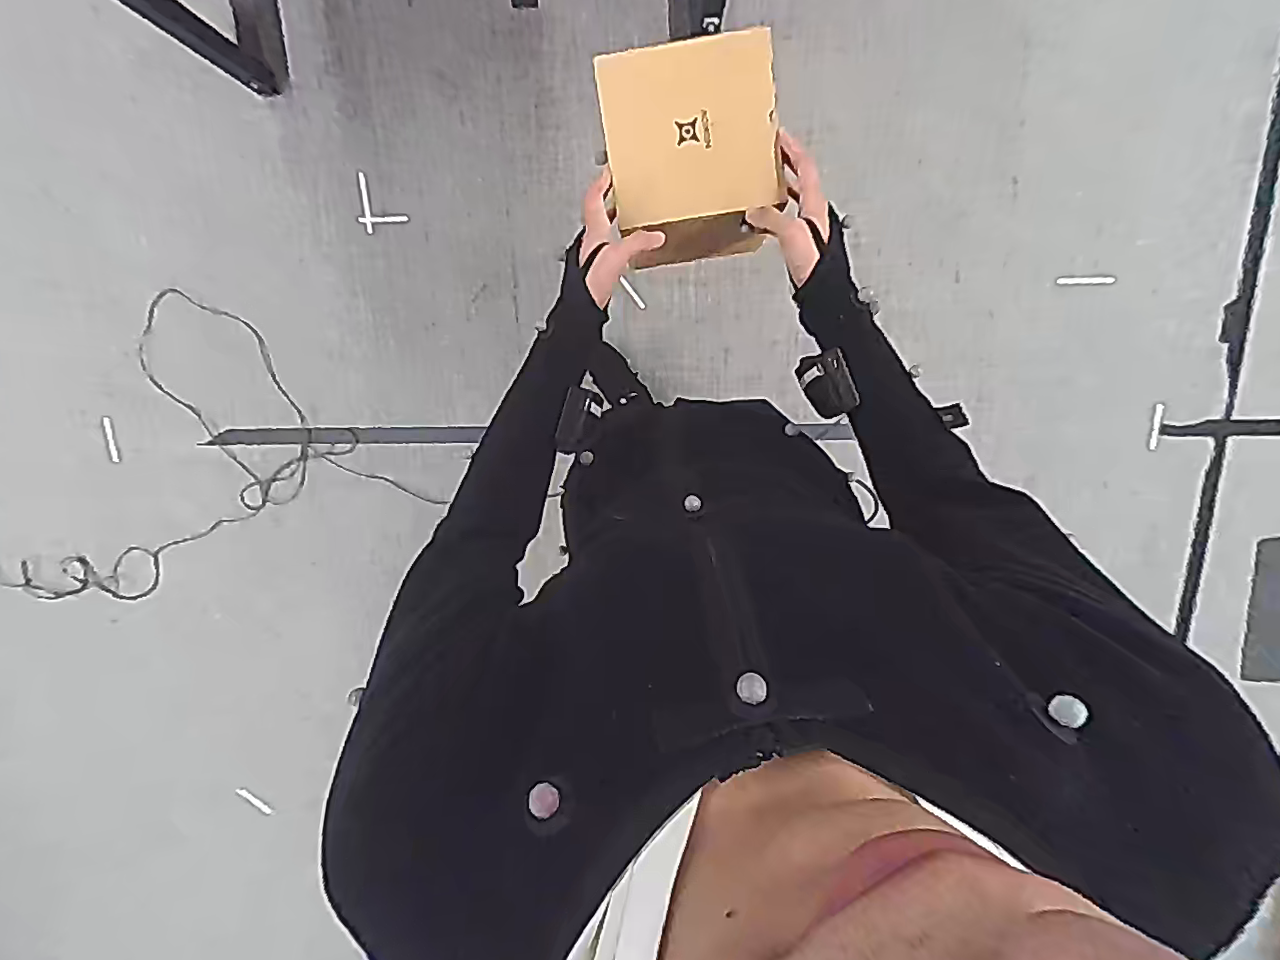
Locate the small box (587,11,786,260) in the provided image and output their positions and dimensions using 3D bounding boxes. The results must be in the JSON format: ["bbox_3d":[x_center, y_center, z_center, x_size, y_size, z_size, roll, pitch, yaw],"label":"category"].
[{"bbox_3d":[0.048,-0.357,0.597,0.179,0.176,0.168,-9,98,2],"label":"small box"}]

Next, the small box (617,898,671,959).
[{"bbox_3d":[0.009,1.490,1.731,0.168,0.176,0.179,2,103,-1],"label":"small box"}]

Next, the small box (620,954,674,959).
[{"bbox_3d":[0.024,1.528,1.571,0.179,0.176,0.168,-5,104,1],"label":"small box"}]

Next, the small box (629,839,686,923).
[{"bbox_3d":[0.061,1.394,1.875,0.168,0.176,0.179,-12,102,3],"label":"small box"}]
